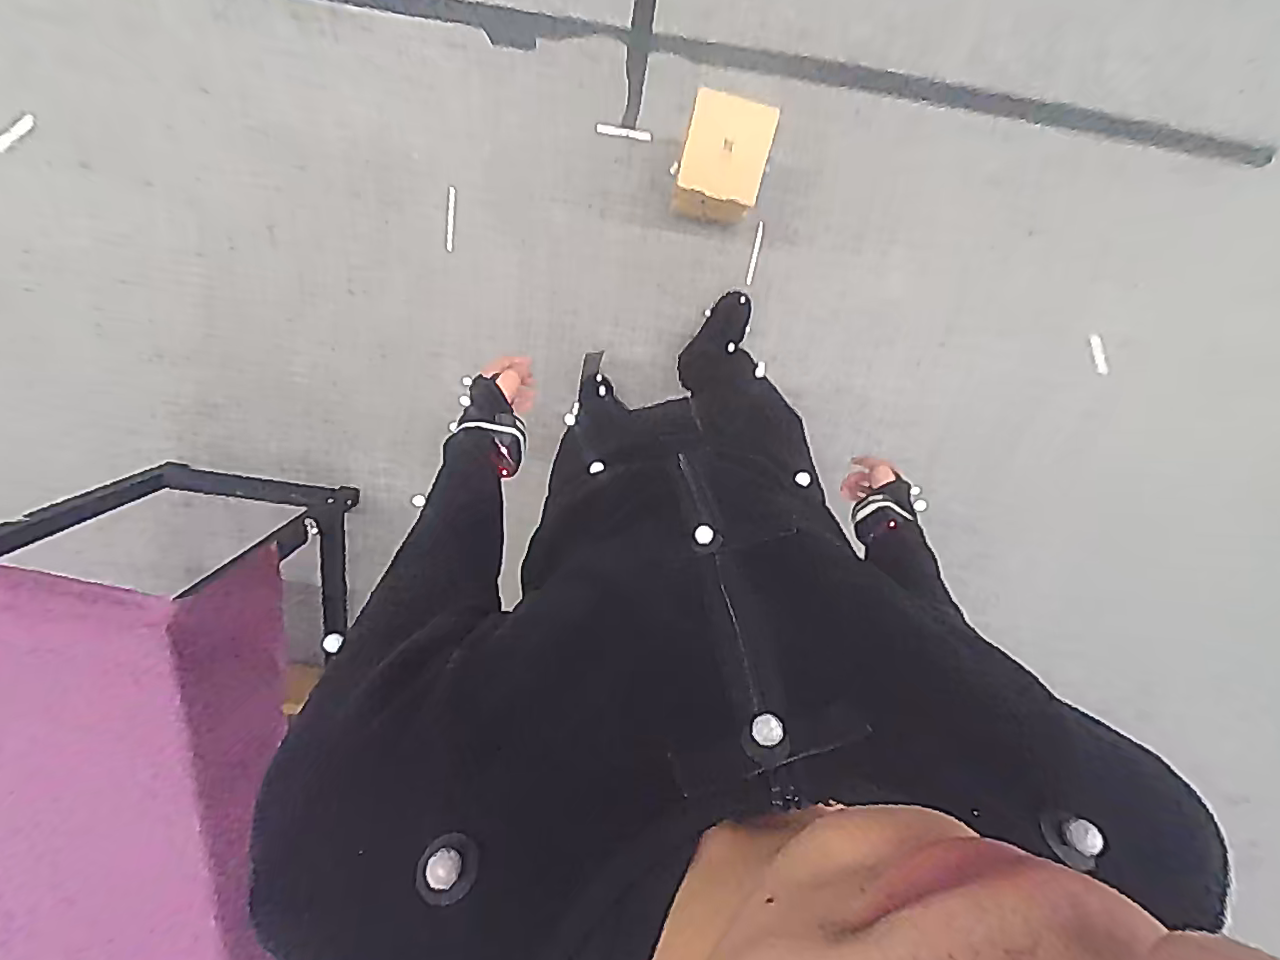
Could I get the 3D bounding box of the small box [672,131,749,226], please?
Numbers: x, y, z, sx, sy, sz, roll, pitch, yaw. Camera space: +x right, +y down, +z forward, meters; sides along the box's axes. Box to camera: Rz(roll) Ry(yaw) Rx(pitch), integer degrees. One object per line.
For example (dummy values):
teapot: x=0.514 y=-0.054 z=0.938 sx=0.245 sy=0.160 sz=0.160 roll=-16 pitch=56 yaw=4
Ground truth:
small box: x=0.178 y=-0.720 z=1.306 sx=0.179 sy=0.176 sz=0.168 roll=8 pitch=110 yaw=-2

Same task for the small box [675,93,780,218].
small box: x=0.175 y=-0.677 z=1.149 sx=0.168 sy=0.176 sz=0.179 roll=13 pitch=110 yaw=-5
